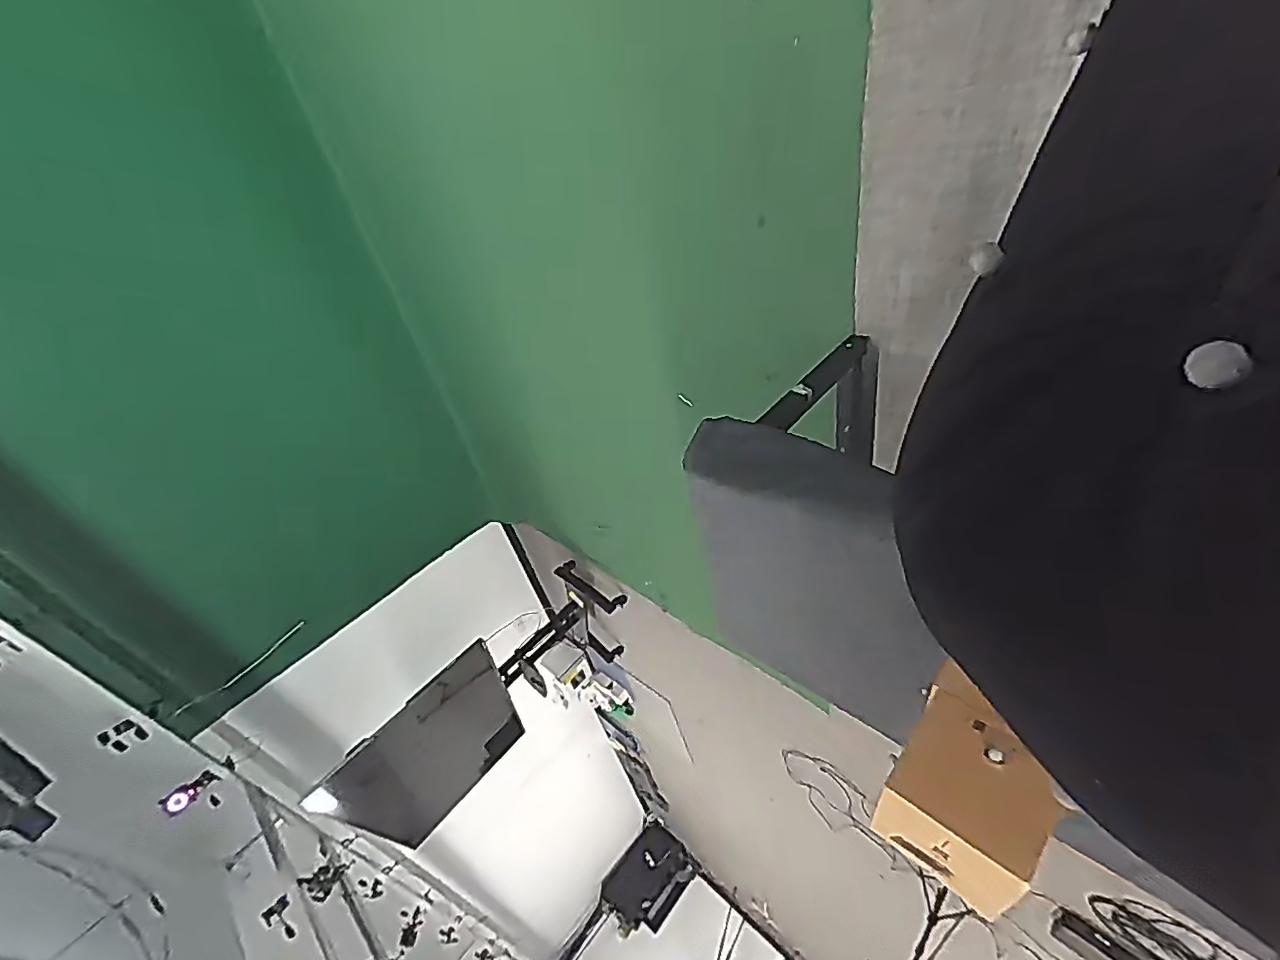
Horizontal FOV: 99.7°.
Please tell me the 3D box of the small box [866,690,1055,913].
[{"bbox_3d":[0.431,0.431,0.740,0.168,0.176,0.179,25,145,40],"label":"small box"}]
